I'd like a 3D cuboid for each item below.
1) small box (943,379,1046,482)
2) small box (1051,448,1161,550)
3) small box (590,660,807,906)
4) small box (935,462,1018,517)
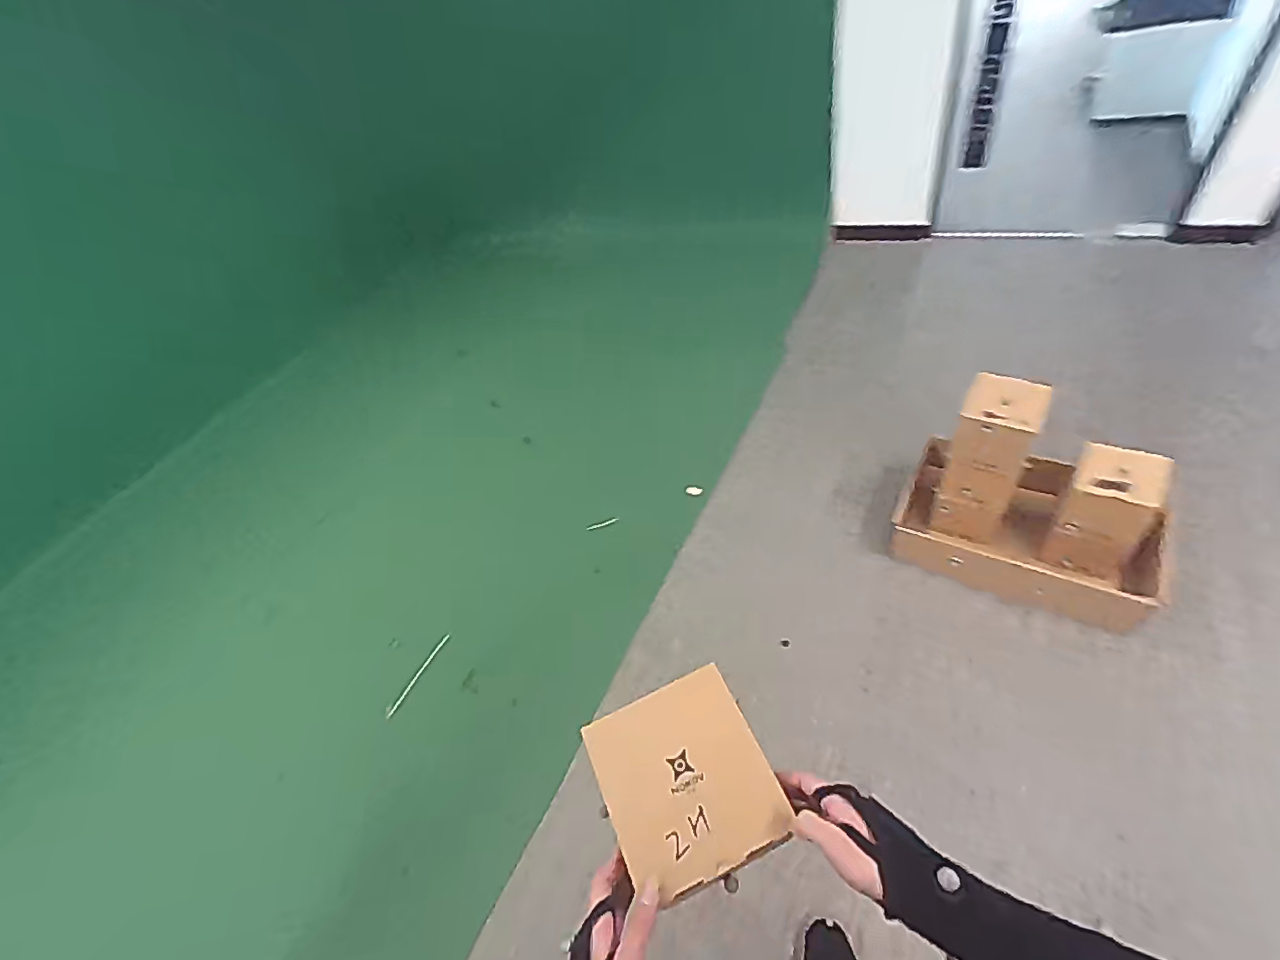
[{"bbox_3d":[0.909,-0.128,1.398,0.168,0.176,0.179,22,58,30],"label":"small box"},{"bbox_3d":[1.180,0.050,1.378,0.168,0.176,0.179,19,57,32],"label":"small box"},{"bbox_3d":[0.060,0.337,0.601,0.168,0.176,0.179,-23,53,-7],"label":"small box"},{"bbox_3d":[0.951,-0.029,1.523,0.168,0.176,0.179,19,57,29],"label":"small box"}]
